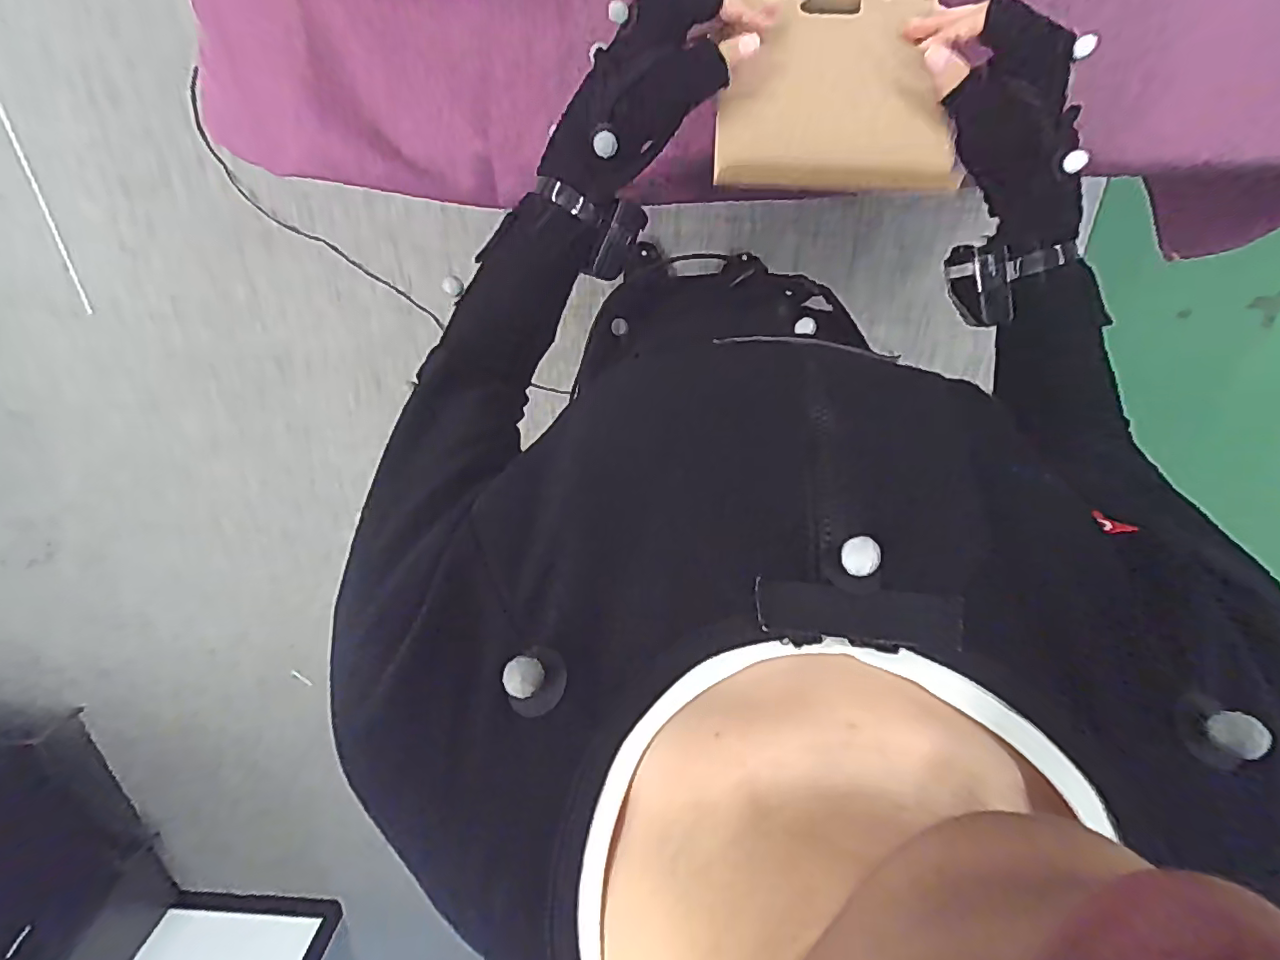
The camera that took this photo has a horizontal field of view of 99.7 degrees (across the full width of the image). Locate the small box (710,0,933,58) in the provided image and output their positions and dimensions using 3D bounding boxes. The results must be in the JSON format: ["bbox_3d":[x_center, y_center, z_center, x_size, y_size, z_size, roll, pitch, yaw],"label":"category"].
[{"bbox_3d":[0.148,-0.468,0.436,0.168,0.176,0.179,3,115,2],"label":"small box"}]
